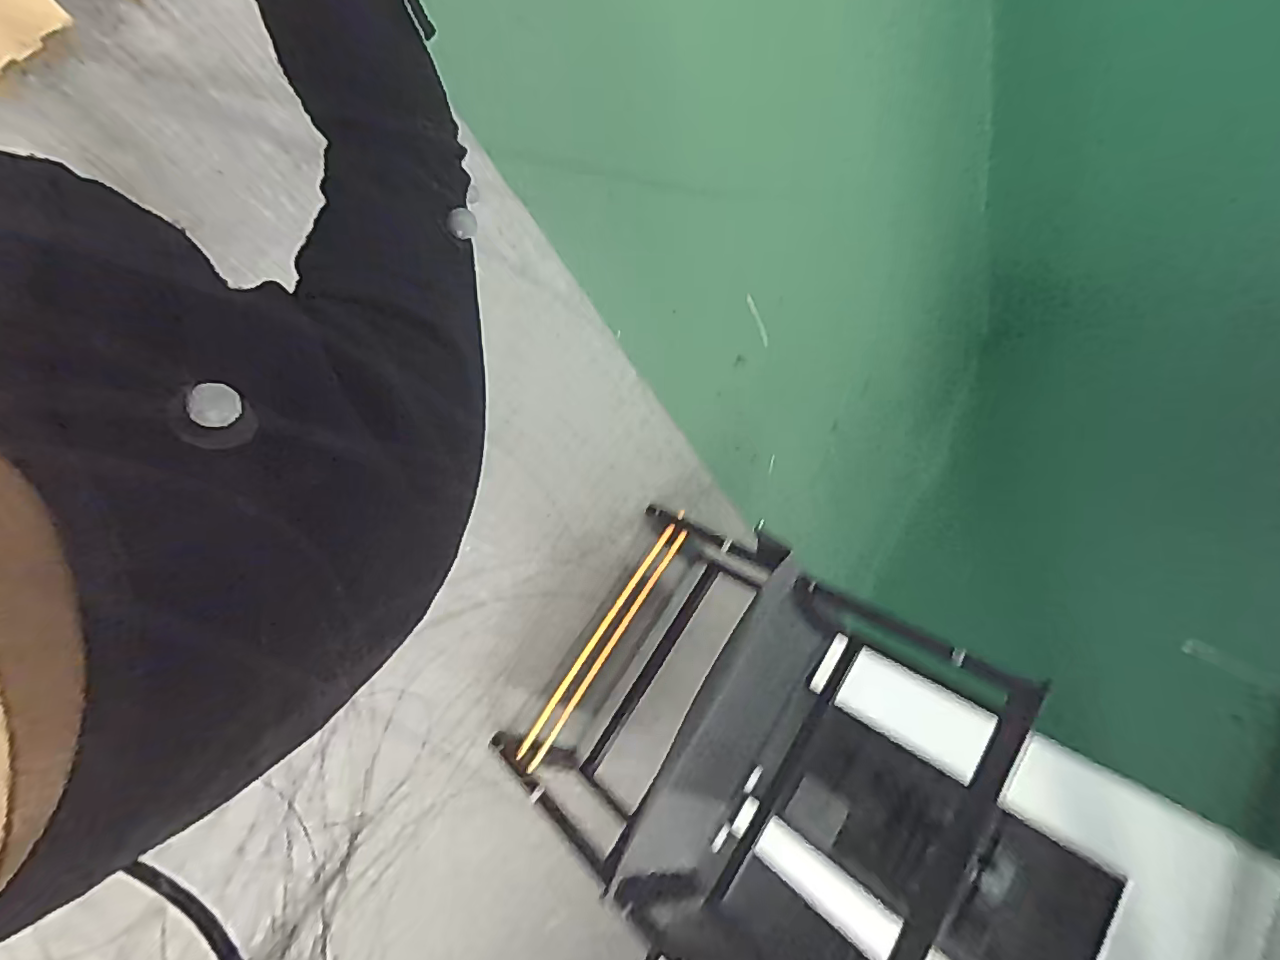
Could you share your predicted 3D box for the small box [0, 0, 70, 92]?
[{"bbox_3d":[-0.992,-0.702,0.780,0.168,0.176,0.179,-55,138,-14],"label":"small box"}]
